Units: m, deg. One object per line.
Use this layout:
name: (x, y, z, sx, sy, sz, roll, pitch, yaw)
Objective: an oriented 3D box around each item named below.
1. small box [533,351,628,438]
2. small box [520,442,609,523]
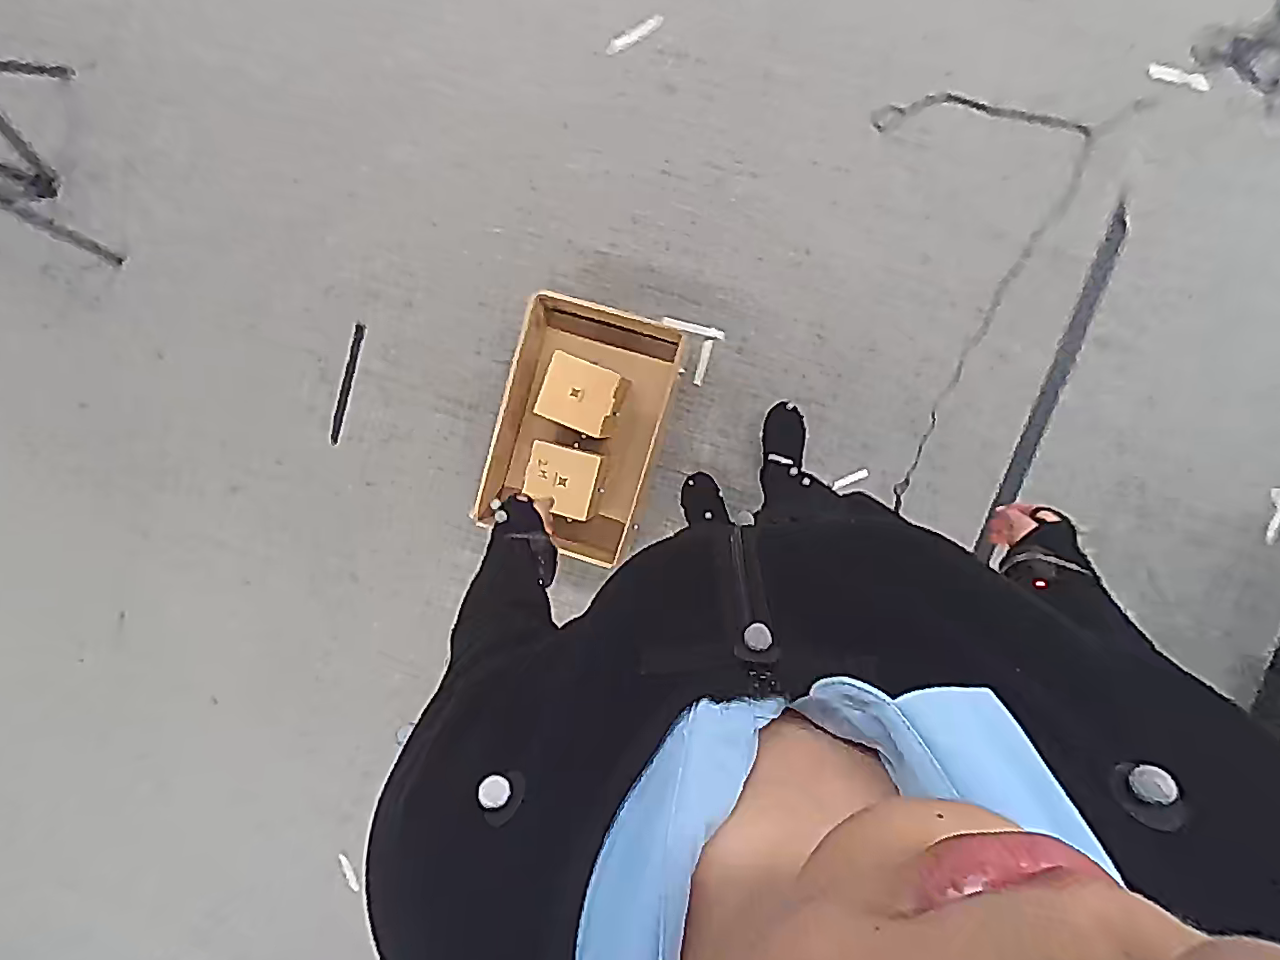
small box: (-0.145, -0.212, 1.388, 0.179, 0.176, 0.168, 22, 97, 4)
small box: (-0.188, 0.001, 1.404, 0.179, 0.176, 0.168, 15, 94, 5)
